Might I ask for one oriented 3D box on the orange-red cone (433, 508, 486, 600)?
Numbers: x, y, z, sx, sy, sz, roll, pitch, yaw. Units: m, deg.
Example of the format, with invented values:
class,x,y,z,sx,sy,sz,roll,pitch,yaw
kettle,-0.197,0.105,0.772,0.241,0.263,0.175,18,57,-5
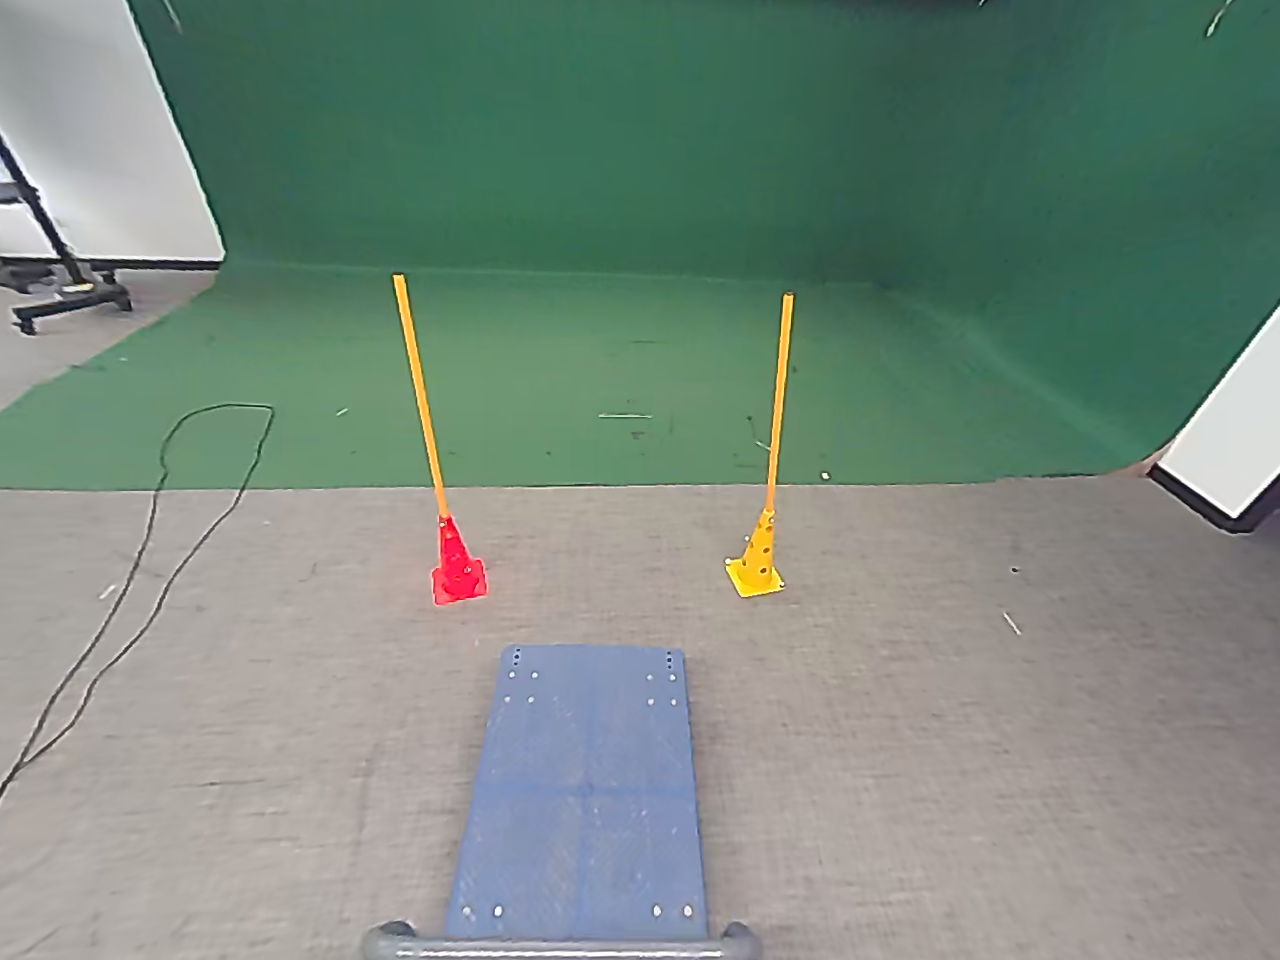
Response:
class,x,y,z,sx,sy,sz,roll,pitch,yaw
orange-red cone,-0.707,0.251,2.023,0.199,0.360,0.198,-11,40,-15
